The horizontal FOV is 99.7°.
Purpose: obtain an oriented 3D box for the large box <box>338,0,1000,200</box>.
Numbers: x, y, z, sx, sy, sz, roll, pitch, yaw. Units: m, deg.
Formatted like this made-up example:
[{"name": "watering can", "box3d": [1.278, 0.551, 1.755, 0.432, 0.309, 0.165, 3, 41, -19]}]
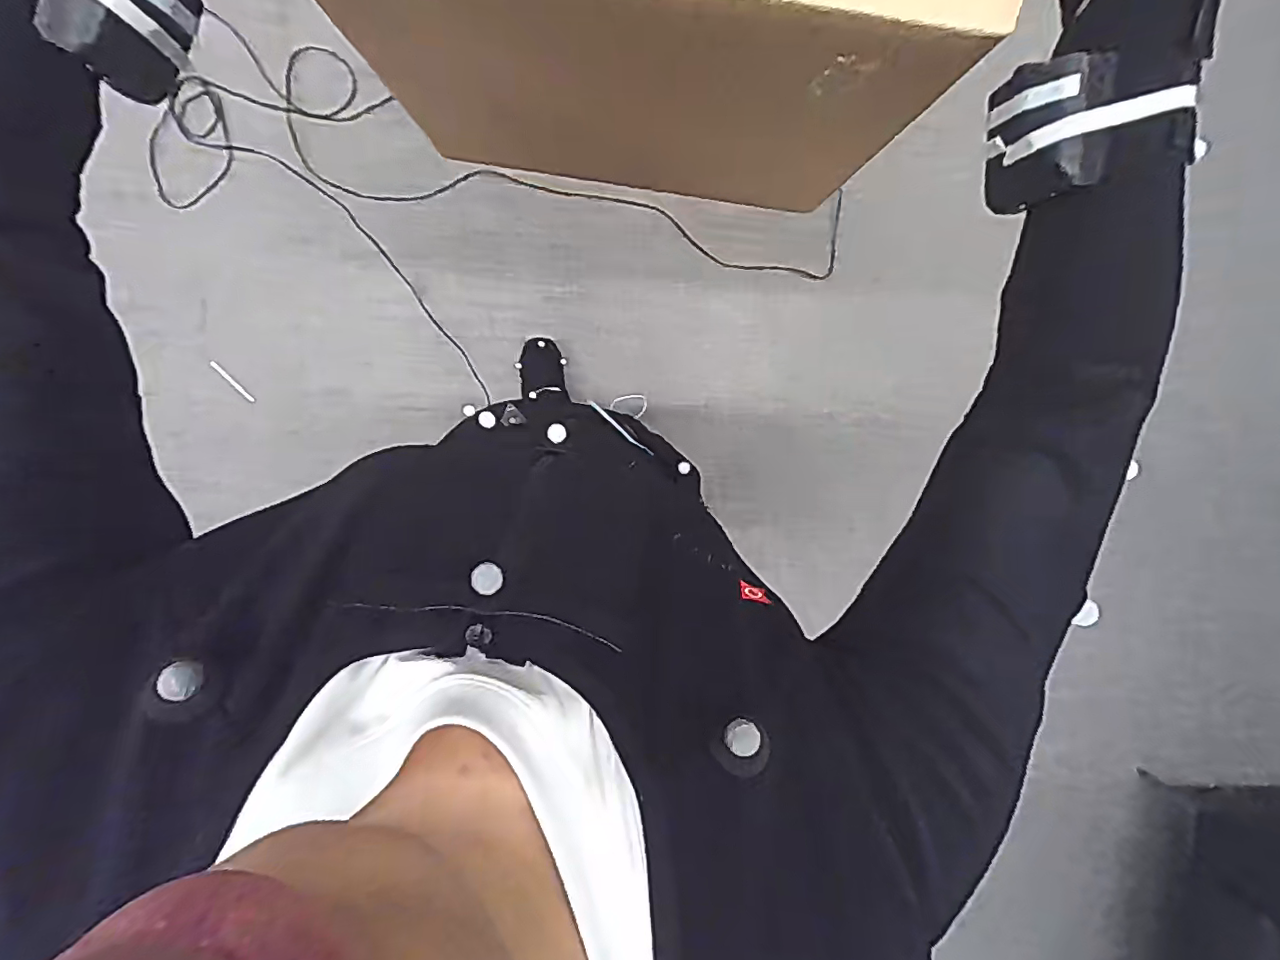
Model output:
[{"name": "large box", "box3d": [0.011, -0.447, 0.411, 0.408, 0.320, 0.320, 6, 100, -4]}]
